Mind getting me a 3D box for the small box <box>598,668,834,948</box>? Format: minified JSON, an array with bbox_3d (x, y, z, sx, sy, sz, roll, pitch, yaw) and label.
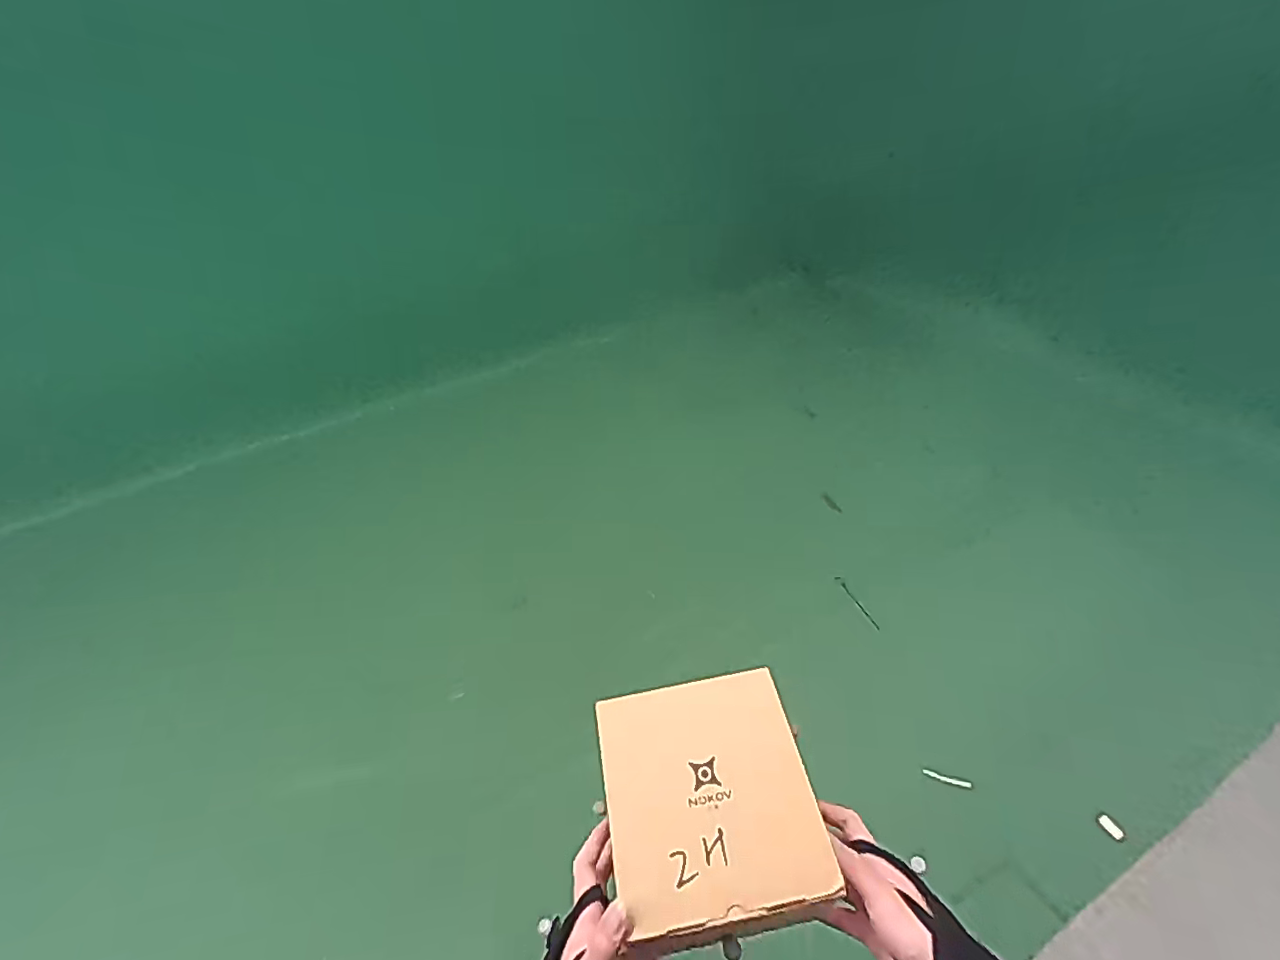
[{"bbox_3d":[0.056,0.307,0.508,0.168,0.176,0.179,-10,46,-3],"label":"small box"}]
